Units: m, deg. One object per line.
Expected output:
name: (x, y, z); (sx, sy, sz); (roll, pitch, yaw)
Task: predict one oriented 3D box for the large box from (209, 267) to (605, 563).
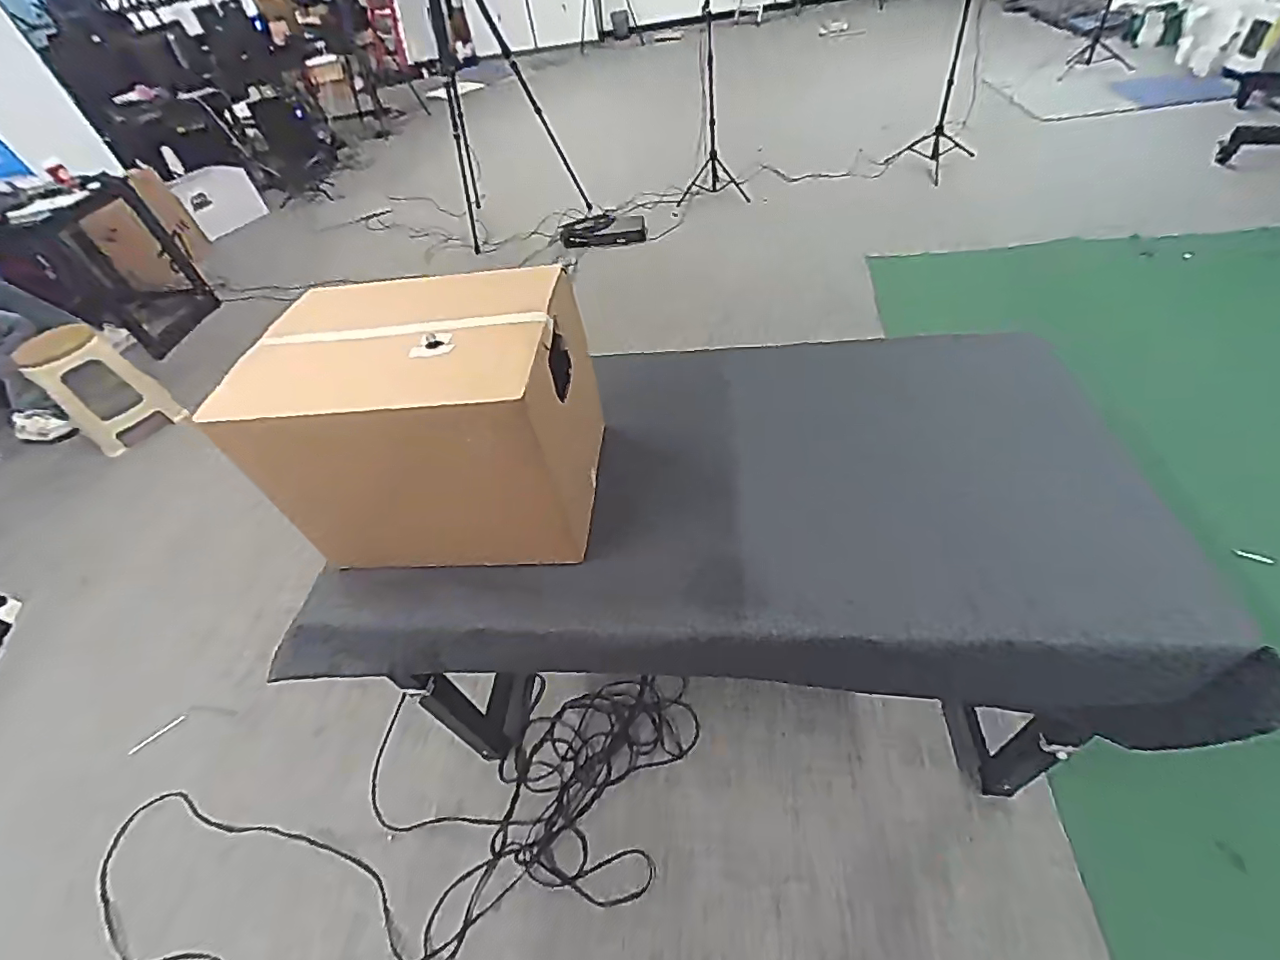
large box: (-0.284, -0.090, 0.813); (0.408, 0.320, 0.320); (-2, 48, 6)
